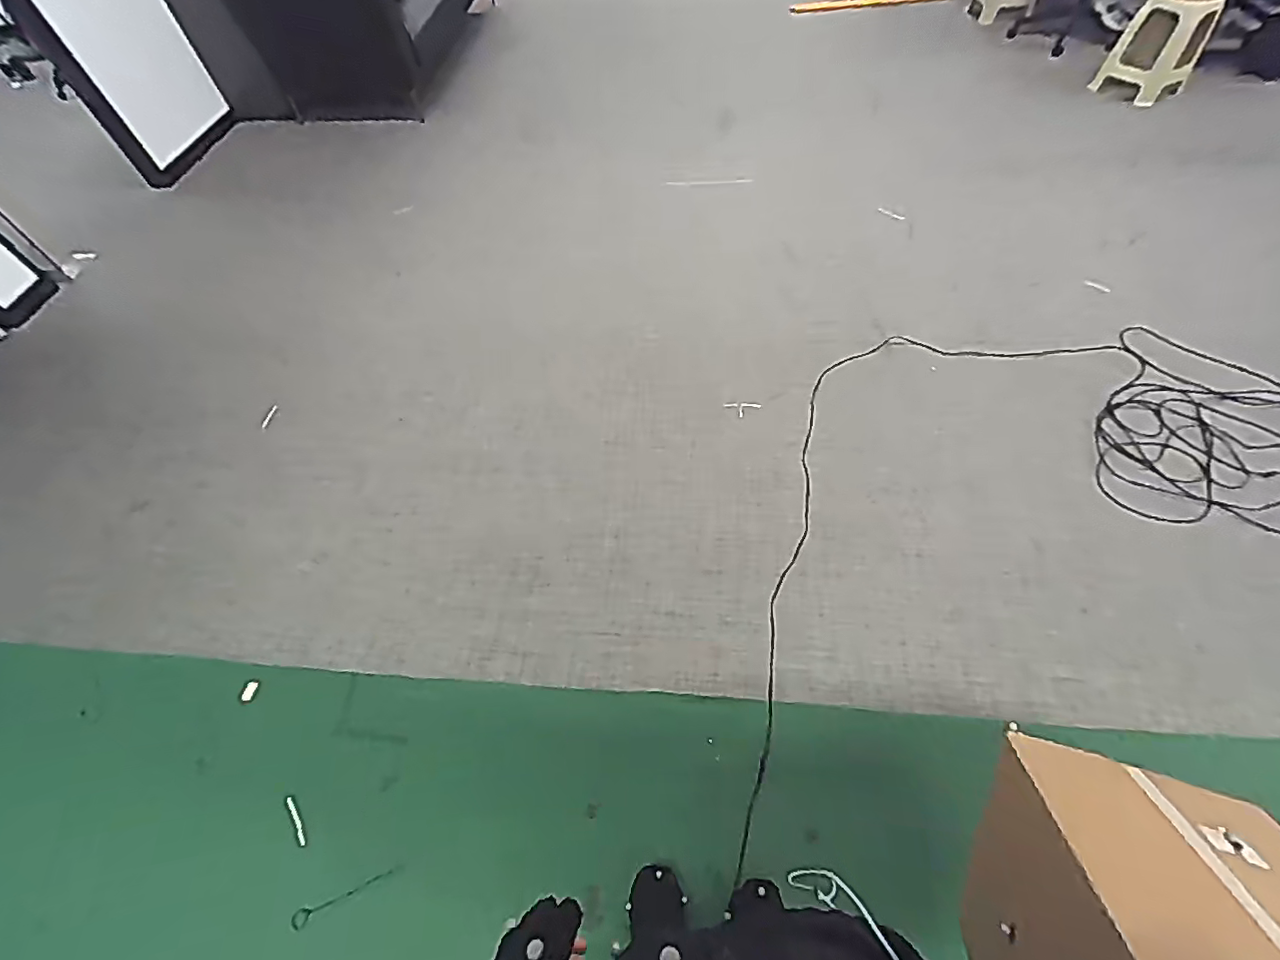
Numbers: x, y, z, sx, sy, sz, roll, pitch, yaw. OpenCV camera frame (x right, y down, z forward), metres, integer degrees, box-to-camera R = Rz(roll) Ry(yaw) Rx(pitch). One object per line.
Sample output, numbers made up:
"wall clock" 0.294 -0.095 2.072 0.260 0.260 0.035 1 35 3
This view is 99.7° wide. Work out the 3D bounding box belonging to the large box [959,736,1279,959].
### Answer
"large box" 0.614 0.587 0.624 0.320 0.408 0.320 14 99 18
